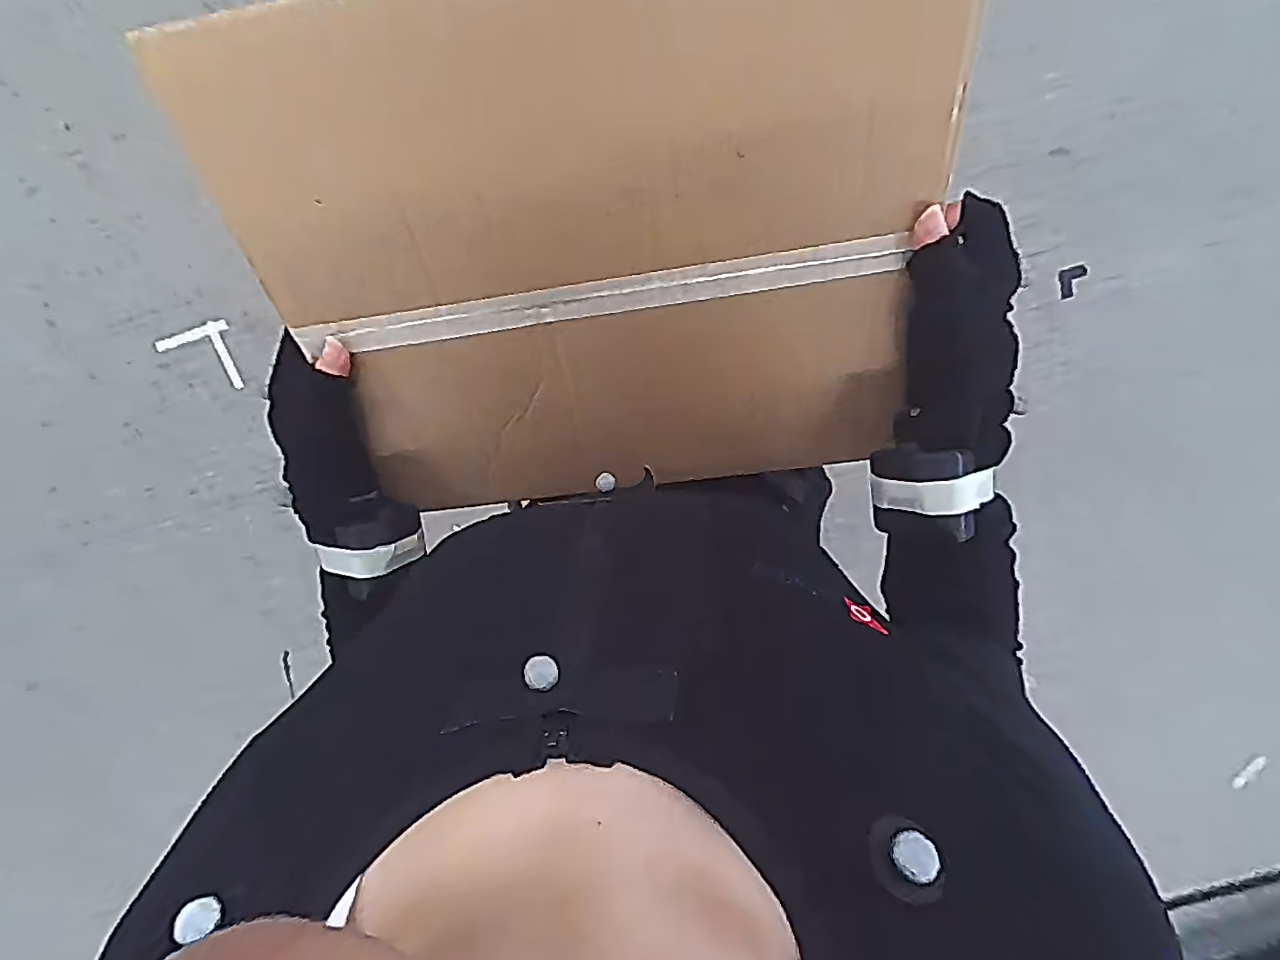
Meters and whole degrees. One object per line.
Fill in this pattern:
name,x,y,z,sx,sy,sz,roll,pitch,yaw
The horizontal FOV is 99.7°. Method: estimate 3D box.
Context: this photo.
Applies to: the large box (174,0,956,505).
large box,-0.024,-0.214,0.466,0.408,0.320,0.320,-7,129,5
